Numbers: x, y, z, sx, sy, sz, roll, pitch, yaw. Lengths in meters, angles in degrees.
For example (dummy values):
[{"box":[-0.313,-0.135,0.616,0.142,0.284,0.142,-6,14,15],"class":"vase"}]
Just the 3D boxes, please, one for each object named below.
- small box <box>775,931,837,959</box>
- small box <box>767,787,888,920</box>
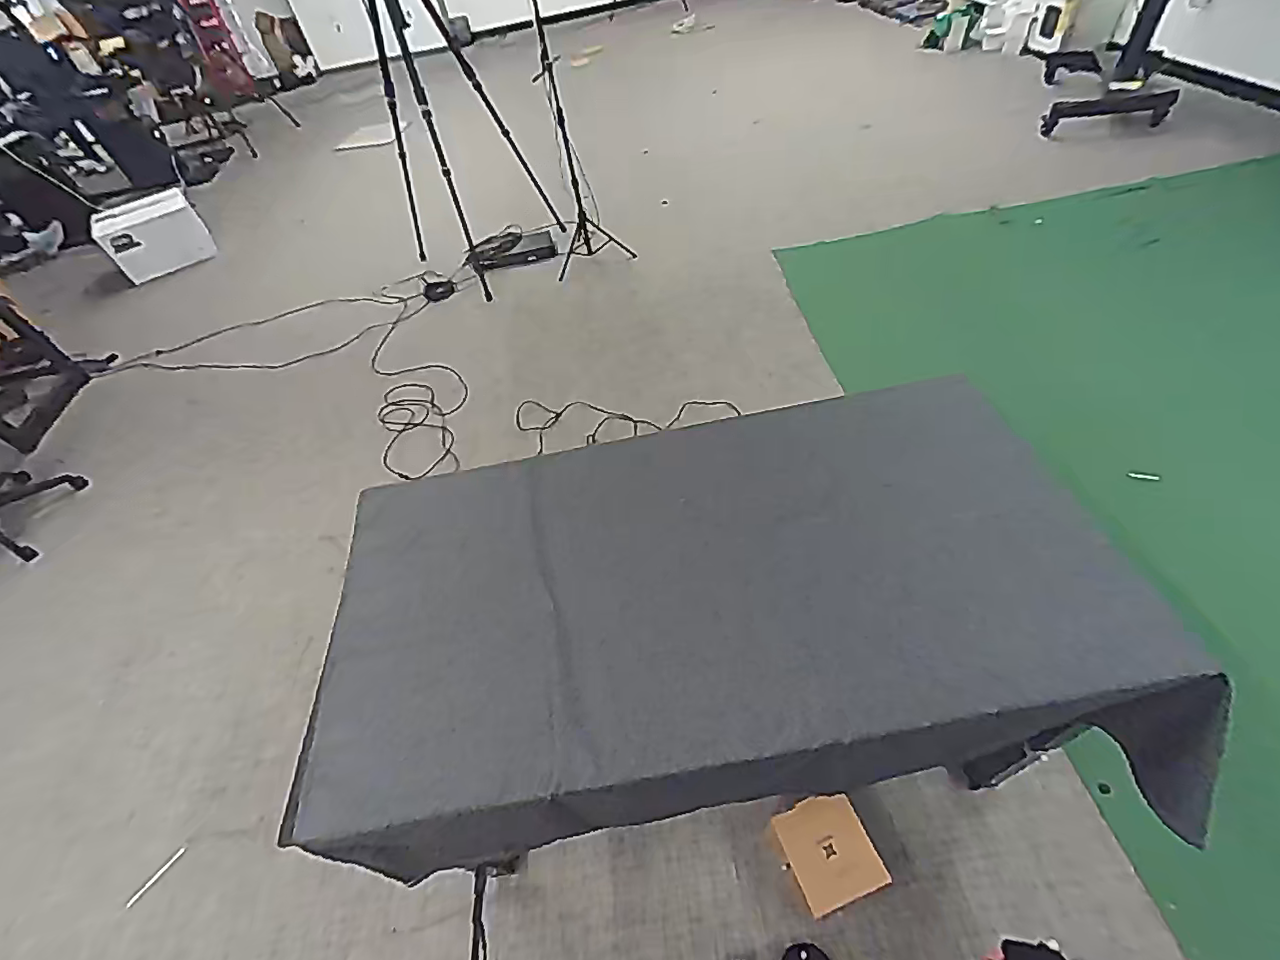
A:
[{"box":[0.316,0.987,0.965,0.168,0.176,0.179,0,19,46],"class":"small box"},{"box":[0.376,0.777,1.122,0.168,0.176,0.179,-20,49,-7],"class":"small box"}]
